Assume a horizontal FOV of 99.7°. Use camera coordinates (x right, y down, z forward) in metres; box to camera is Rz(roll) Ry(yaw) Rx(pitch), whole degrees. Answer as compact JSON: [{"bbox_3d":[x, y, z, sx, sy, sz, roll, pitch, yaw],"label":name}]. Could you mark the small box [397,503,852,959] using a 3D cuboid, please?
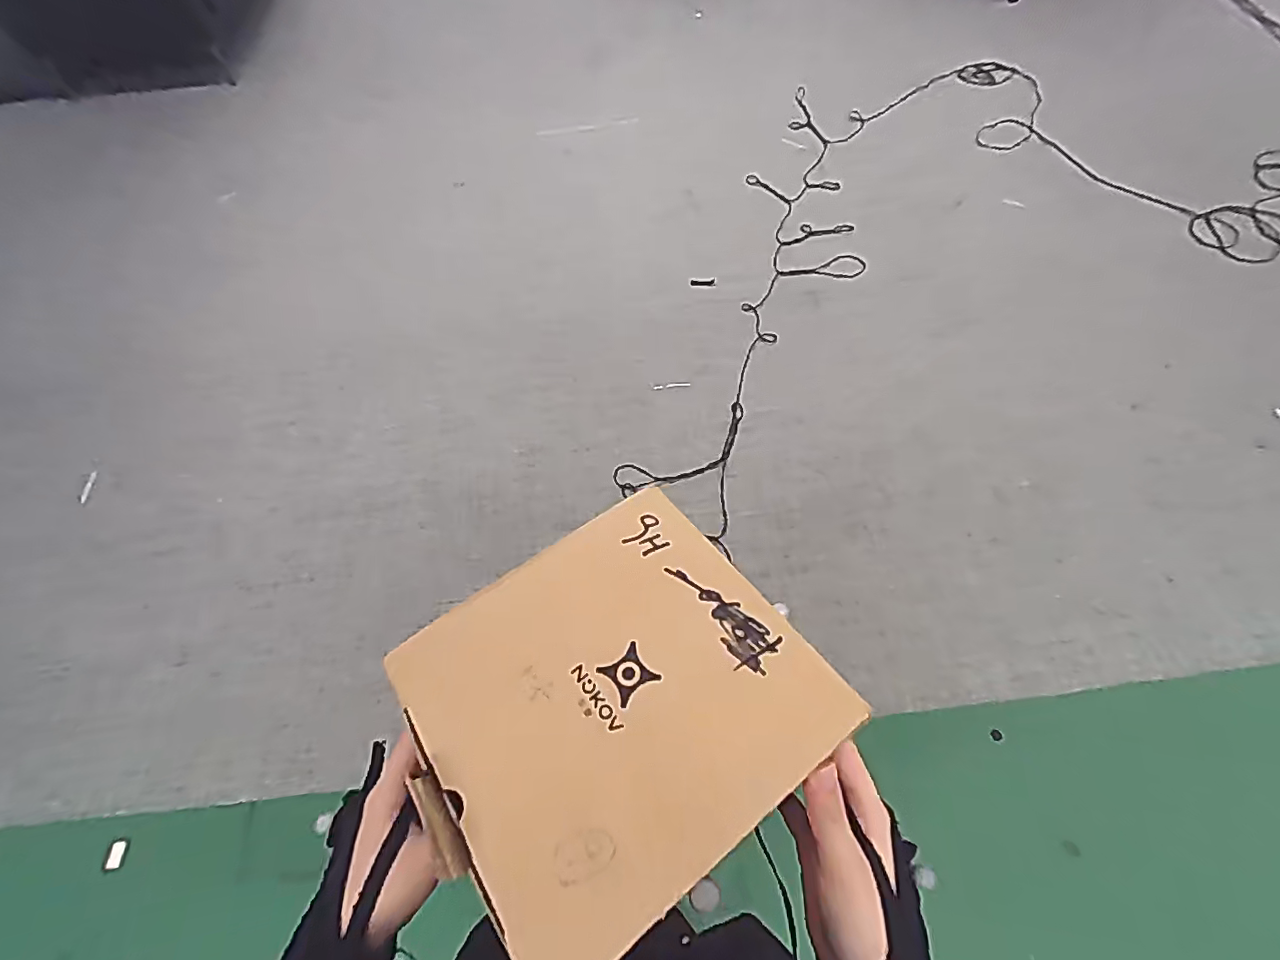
[{"bbox_3d":[-0.007,0.155,0.332,0.179,0.176,0.168,-33,57,-19],"label":"small box"}]
